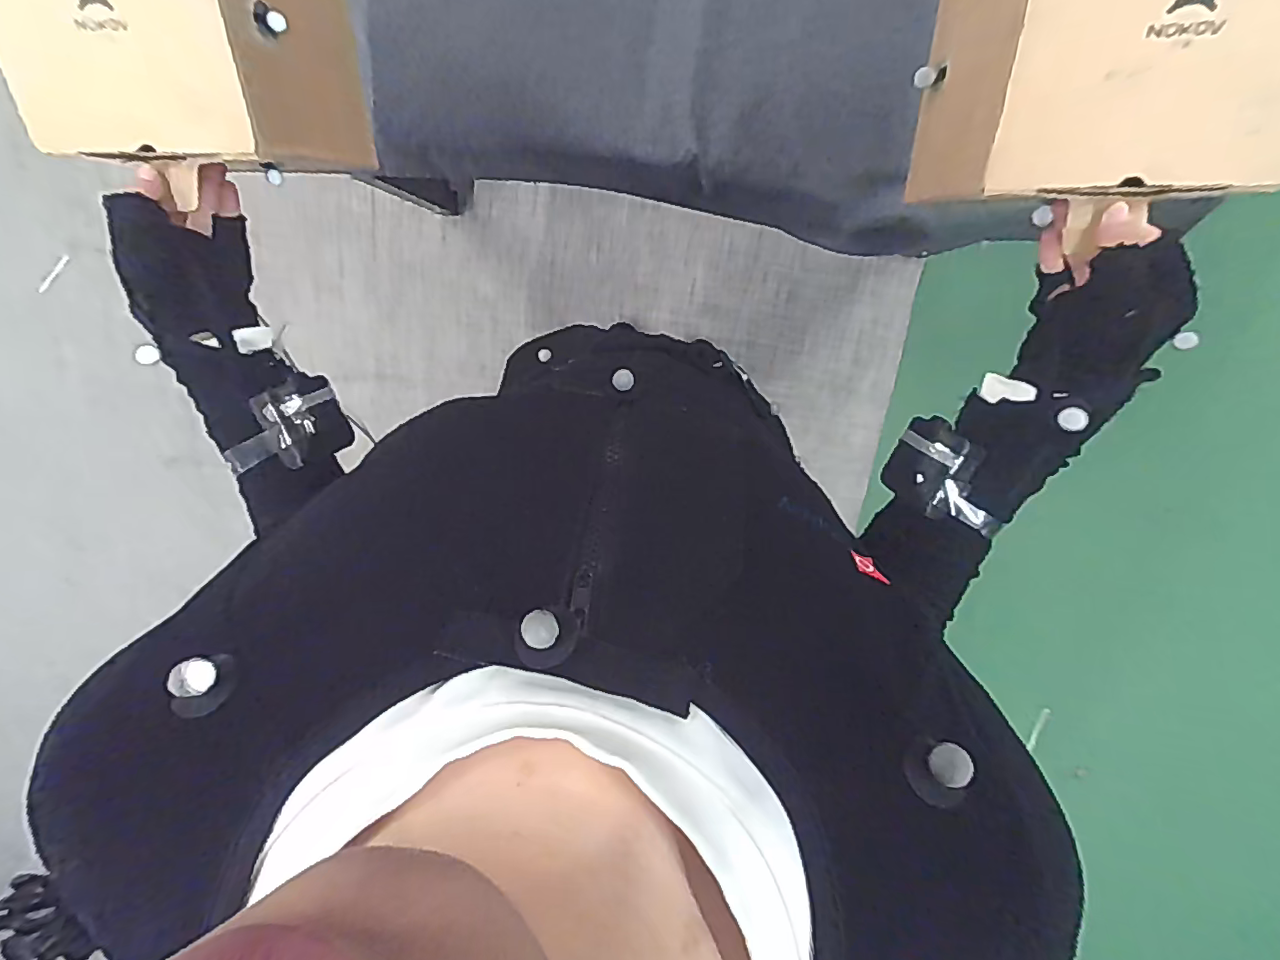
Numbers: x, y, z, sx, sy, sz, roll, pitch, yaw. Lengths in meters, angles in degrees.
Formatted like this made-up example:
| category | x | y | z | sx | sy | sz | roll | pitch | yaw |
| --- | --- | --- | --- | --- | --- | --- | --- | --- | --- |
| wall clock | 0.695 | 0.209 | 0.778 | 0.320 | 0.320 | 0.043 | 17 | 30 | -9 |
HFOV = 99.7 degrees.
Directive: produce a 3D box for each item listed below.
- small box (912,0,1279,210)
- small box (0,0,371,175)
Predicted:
| category | x | y | z | sx | sy | sz | roll | pitch | yaw |
| --- | --- | --- | --- | --- | --- | --- | --- | --- | --- |
| small box | 0.301 | -0.278 | 0.360 | 0.168 | 0.176 | 0.179 | 3 | 116 | 8 |
| small box | -0.331 | -0.332 | 0.405 | 0.168 | 0.176 | 0.179 | 2 | 116 | 3 |
